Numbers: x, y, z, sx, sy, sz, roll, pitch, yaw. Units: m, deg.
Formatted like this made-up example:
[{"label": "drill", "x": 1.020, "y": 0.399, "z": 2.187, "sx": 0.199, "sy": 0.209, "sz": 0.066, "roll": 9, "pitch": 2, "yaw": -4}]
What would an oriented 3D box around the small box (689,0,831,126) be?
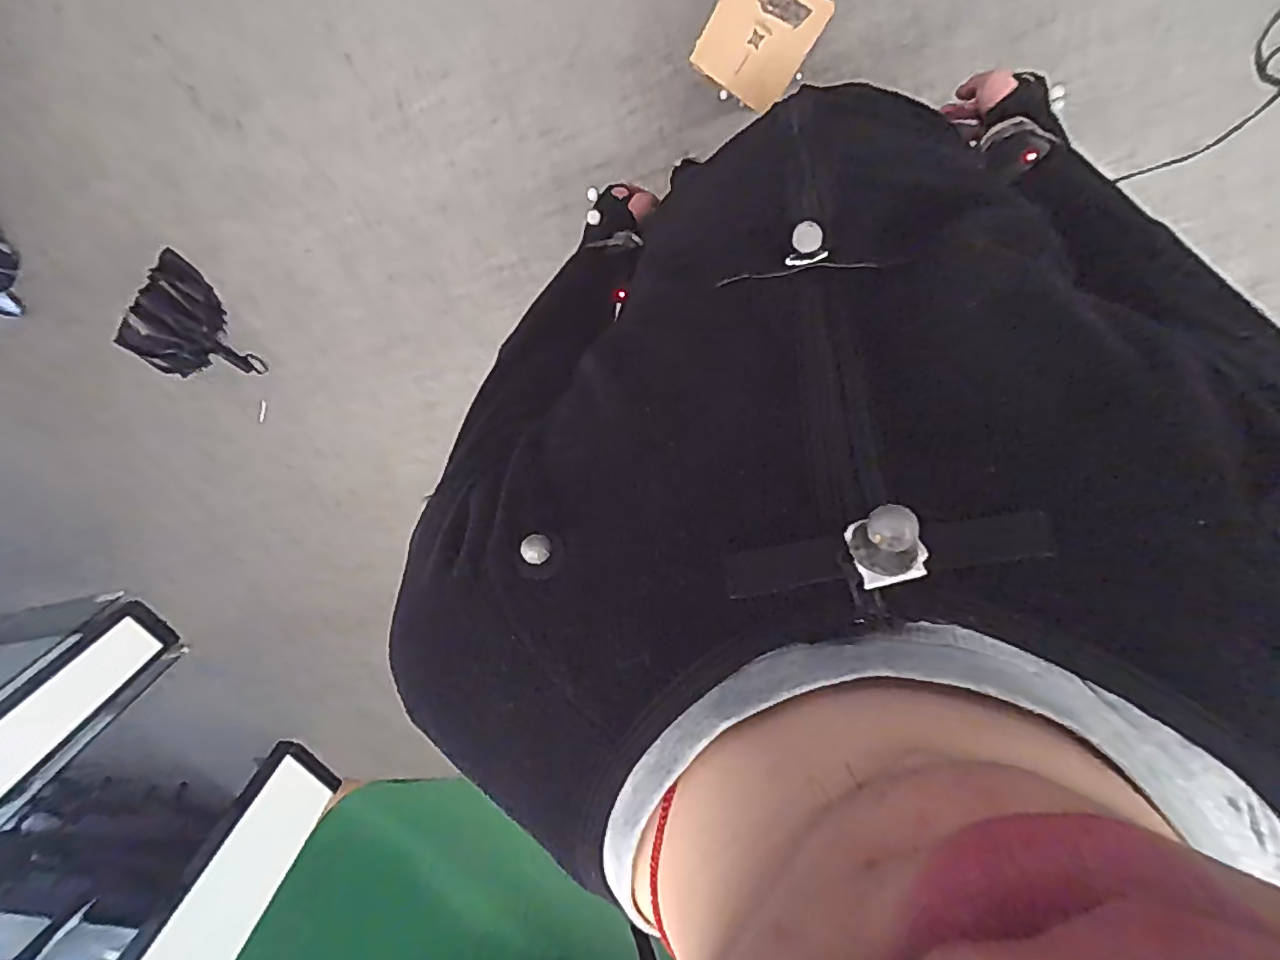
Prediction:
[{"label": "small box", "x": 0.204, "y": -0.764, "z": 0.953, "sx": 0.168, "sy": 0.176, "sz": 0.179, "roll": 30, "pitch": 125, "yaw": -10}]
